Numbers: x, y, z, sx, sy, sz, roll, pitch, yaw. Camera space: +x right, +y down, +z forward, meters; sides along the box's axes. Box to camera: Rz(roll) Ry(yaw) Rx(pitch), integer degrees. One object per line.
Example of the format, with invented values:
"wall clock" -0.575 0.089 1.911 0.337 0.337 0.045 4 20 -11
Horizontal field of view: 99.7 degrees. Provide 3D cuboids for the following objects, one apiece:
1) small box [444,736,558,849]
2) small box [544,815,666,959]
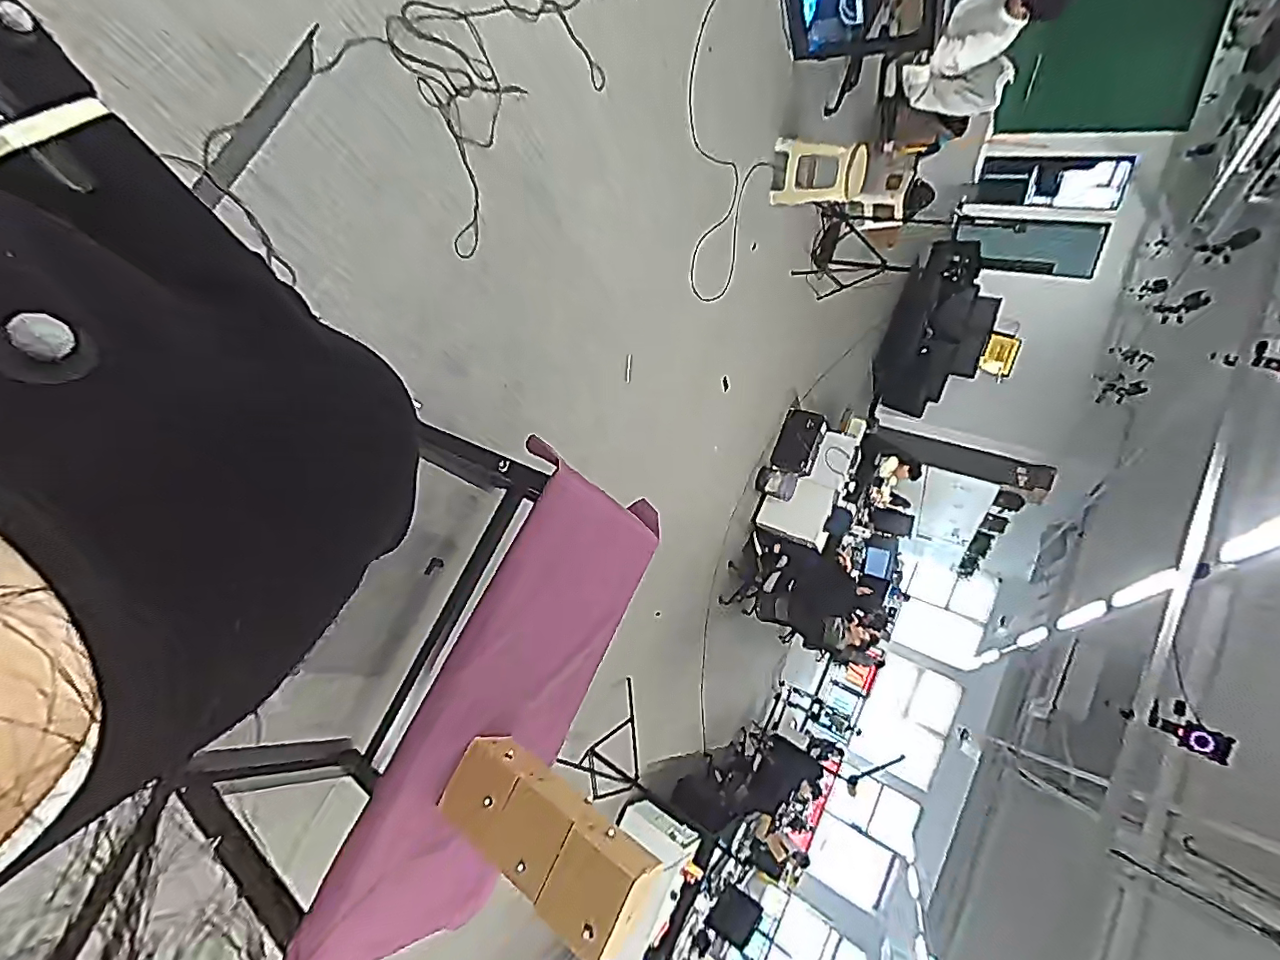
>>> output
"small box" -0.337 0.743 1.310 0.179 0.176 0.168 -62 148 -11
"small box" -0.076 0.850 1.139 0.179 0.176 0.168 -63 149 -11
